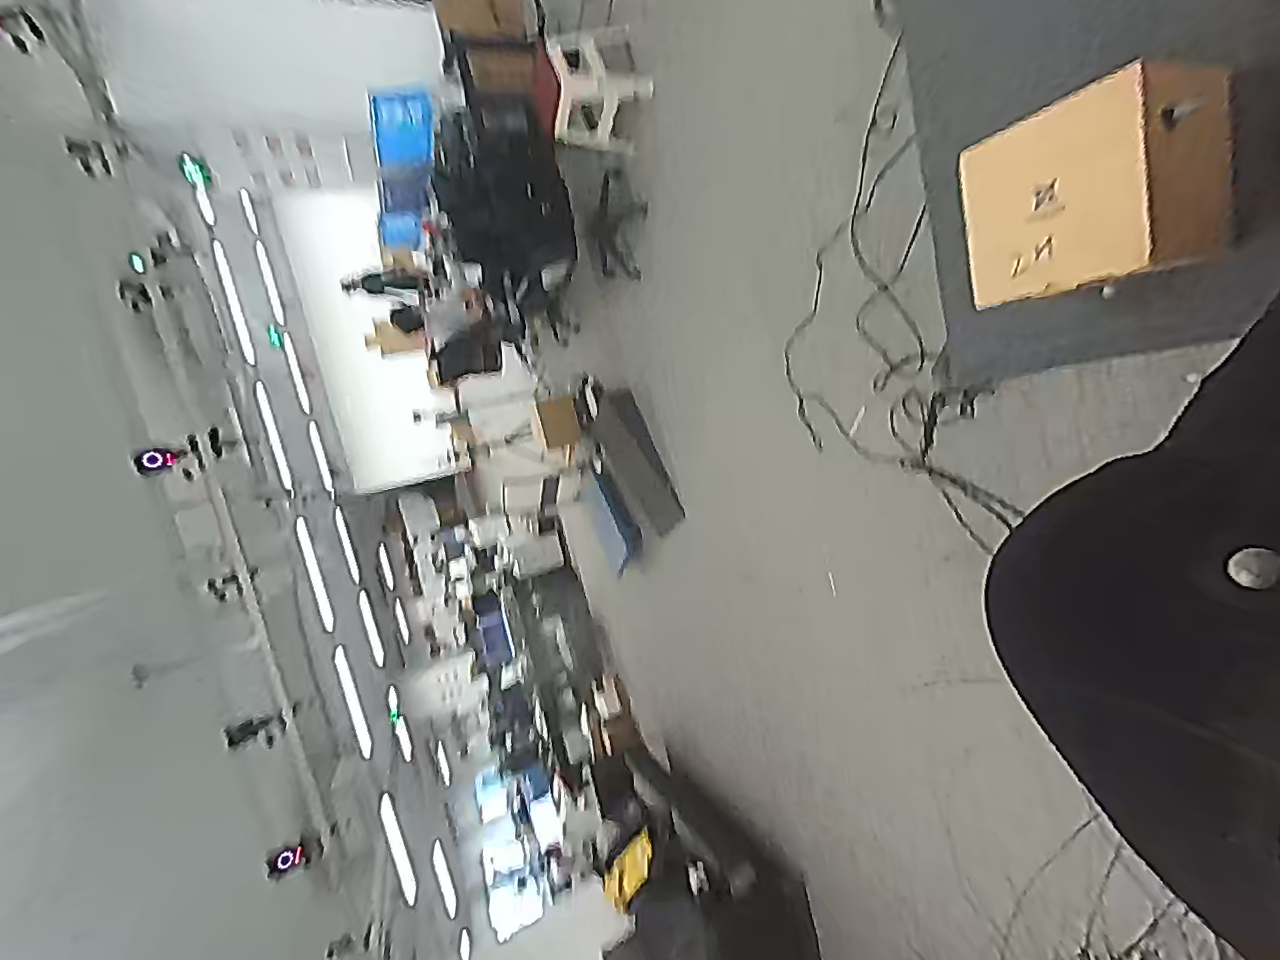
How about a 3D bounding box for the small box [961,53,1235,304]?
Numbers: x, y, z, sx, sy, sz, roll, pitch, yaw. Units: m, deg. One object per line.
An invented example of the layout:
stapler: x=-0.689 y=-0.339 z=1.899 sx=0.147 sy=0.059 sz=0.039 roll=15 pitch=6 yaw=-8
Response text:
small box: x=0.479 y=-0.301 z=0.572 sx=0.168 sy=0.176 sz=0.179 roll=5 pitch=109 yaw=65
